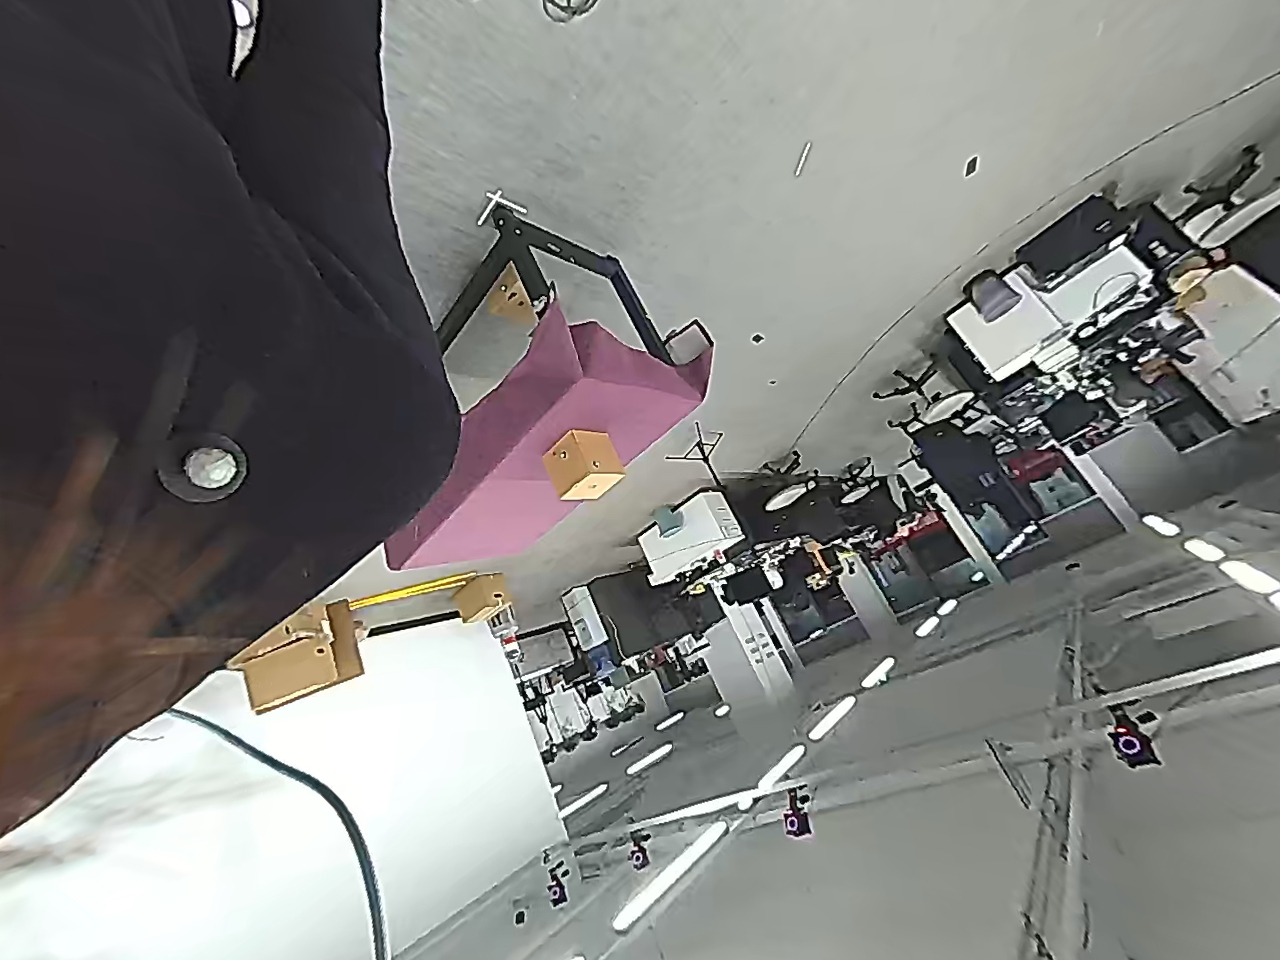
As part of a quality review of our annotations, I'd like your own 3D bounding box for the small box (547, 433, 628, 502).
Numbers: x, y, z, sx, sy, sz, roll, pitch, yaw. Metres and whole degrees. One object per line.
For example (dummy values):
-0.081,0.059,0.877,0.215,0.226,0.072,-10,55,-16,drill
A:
-0.177,-0.042,1.791,0.168,0.176,0.179,-39,156,32,small box
